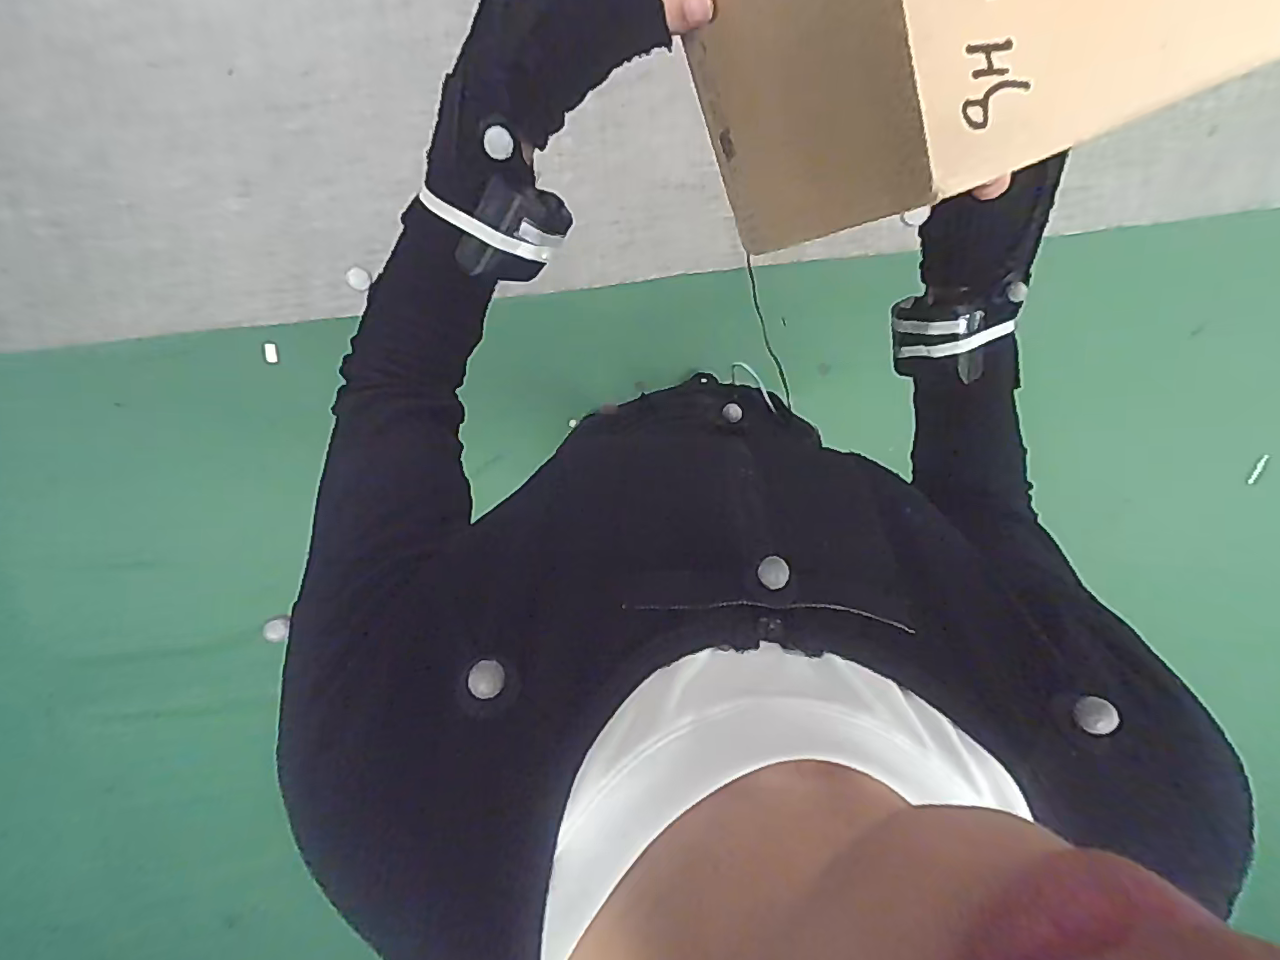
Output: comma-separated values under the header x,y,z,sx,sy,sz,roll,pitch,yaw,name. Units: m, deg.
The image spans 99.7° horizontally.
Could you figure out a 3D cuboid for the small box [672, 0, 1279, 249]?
x,y,z,sx,sy,sz,roll,pitch,yaw,name
0.132,-0.221,0.236,0.179,0.176,0.168,-24,108,-5,small box
